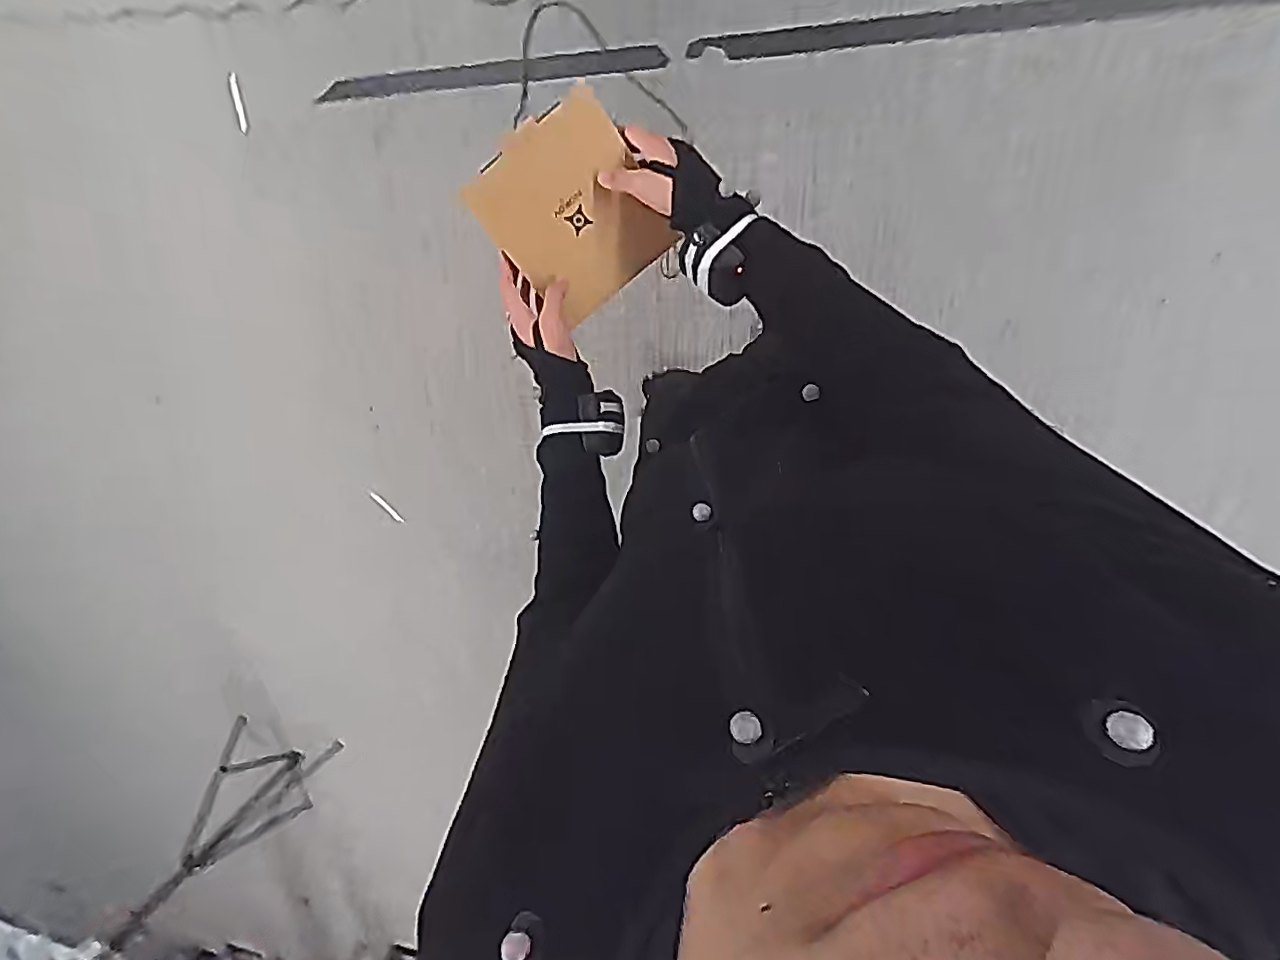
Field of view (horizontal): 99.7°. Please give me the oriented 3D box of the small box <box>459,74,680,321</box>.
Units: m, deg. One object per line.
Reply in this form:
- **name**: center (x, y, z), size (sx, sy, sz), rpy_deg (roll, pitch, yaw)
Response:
- **small box**: center (-0.081, -0.318, 0.628), size (0.168, 0.176, 0.179), rpy_deg (-36, 118, 6)
